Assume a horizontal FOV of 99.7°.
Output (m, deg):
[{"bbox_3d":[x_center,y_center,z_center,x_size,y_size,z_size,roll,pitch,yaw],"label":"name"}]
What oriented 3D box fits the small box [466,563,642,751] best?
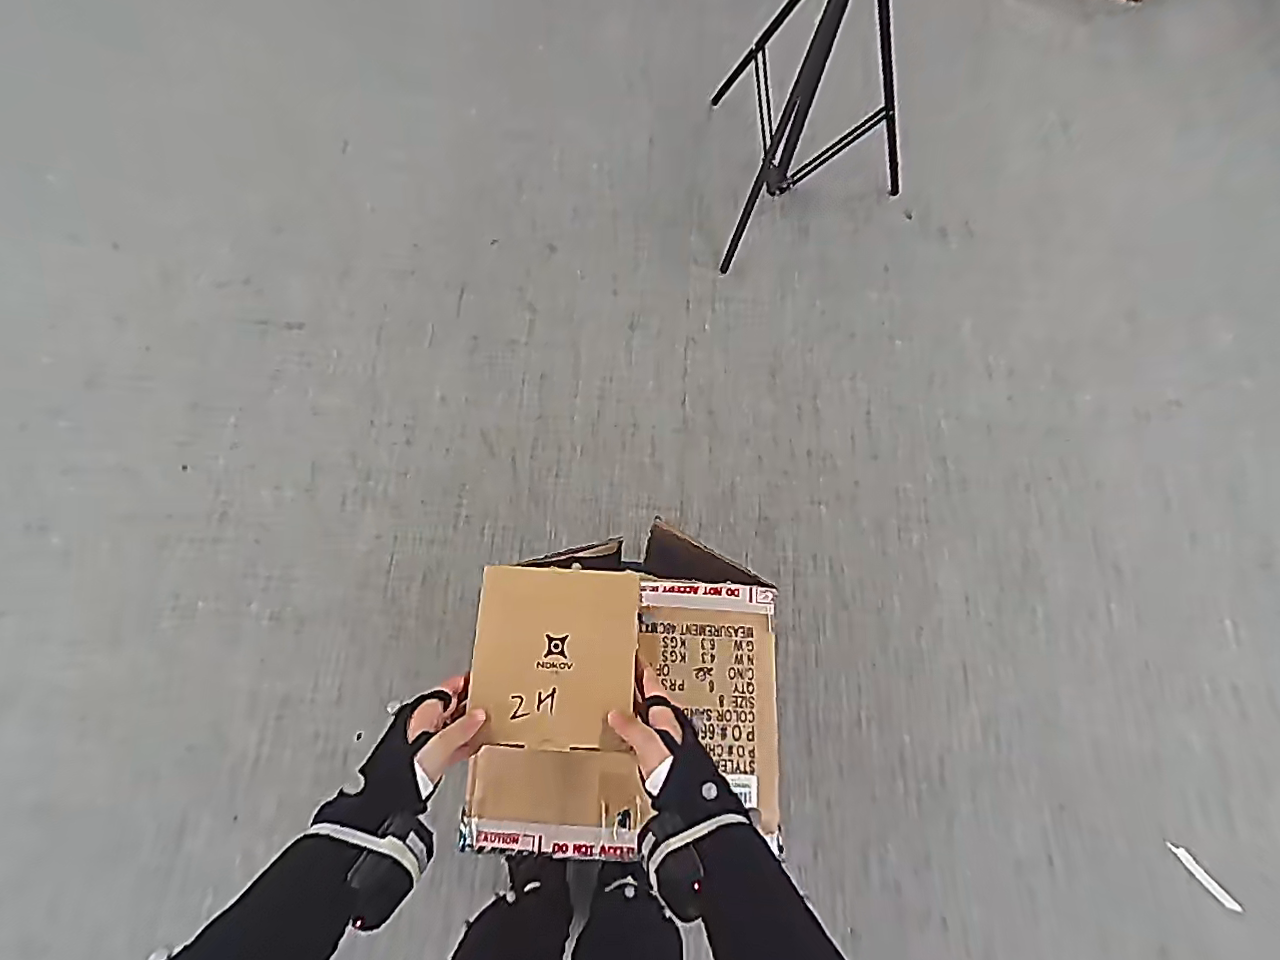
[{"bbox_3d":[-0.087,0.198,0.625,0.168,0.176,0.179,3,75,0],"label":"small box"}]
